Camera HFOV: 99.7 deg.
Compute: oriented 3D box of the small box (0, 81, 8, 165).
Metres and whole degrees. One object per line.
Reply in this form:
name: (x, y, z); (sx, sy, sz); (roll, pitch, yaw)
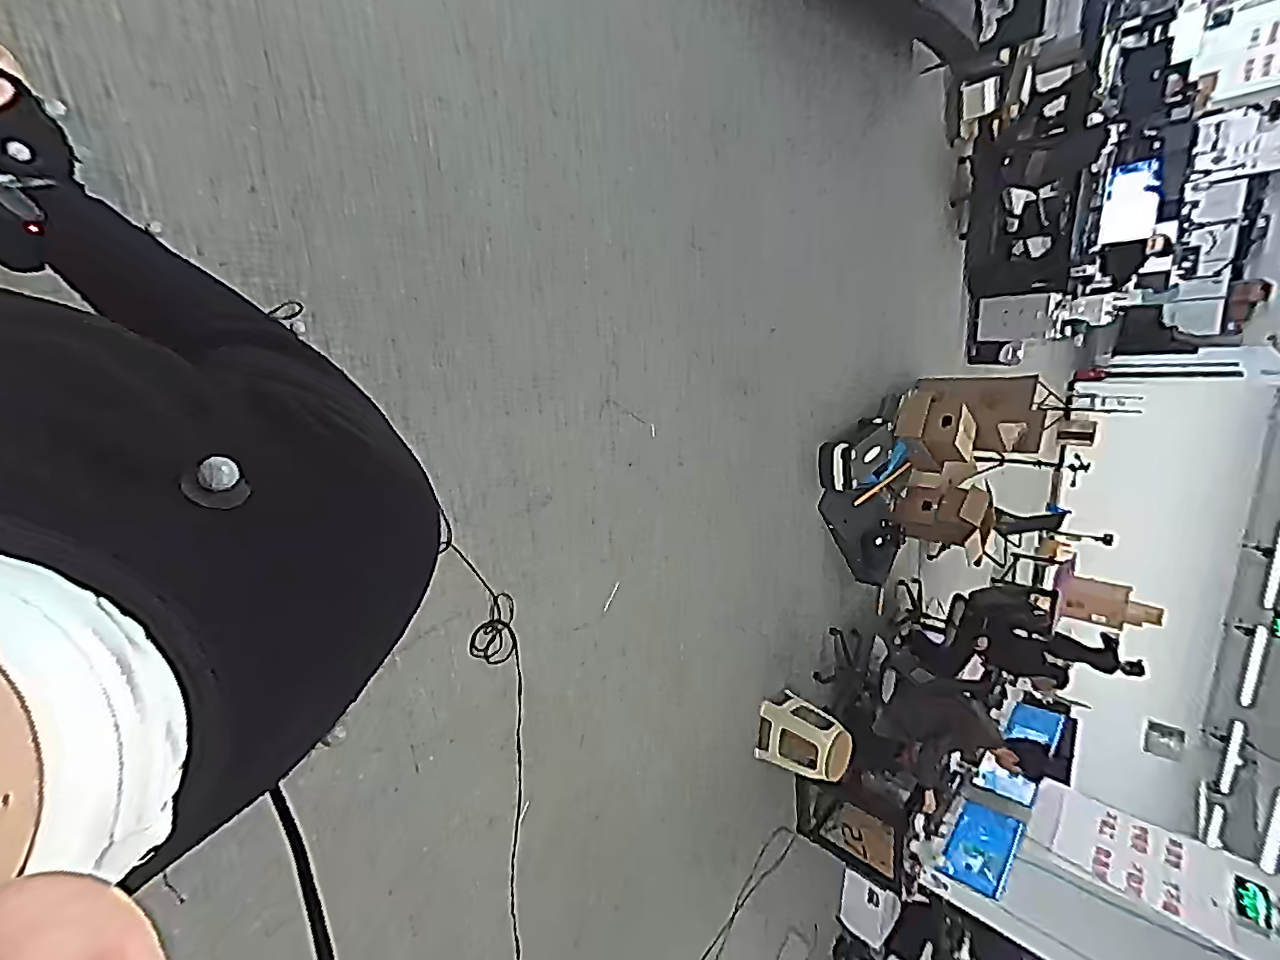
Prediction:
small box: (-0.655, -0.366, 0.434); (0.179, 0.176, 0.168); (-10, 102, -48)
